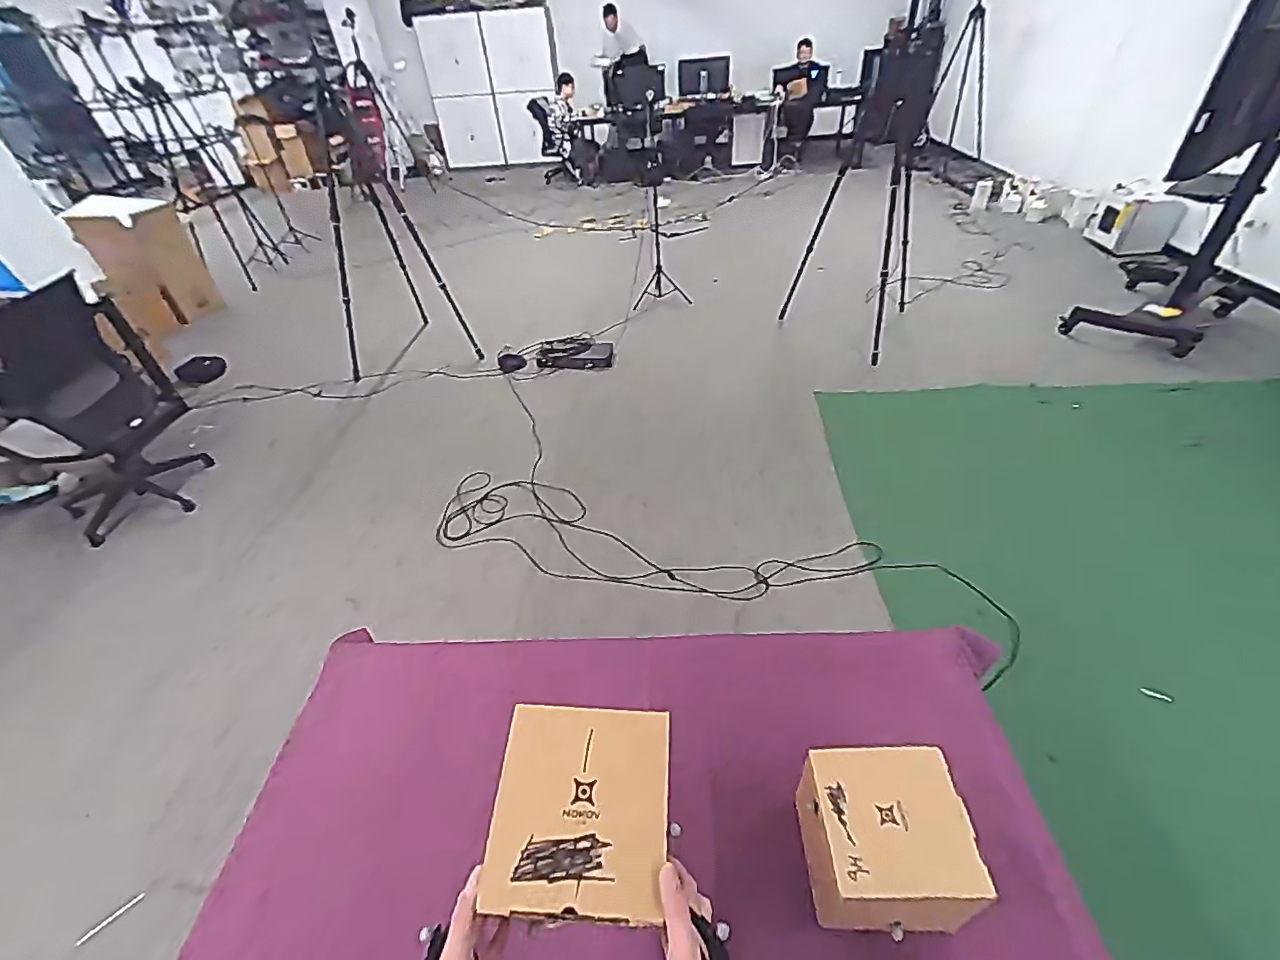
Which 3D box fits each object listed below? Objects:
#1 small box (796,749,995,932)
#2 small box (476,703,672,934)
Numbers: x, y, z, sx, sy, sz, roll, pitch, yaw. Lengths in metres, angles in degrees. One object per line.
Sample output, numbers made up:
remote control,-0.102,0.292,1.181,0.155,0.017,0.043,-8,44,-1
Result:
small box,0.317,0.475,0.715,0.179,0.176,0.168,-3,40,4
small box,-0.053,0.355,0.565,0.168,0.176,0.179,3,48,1
